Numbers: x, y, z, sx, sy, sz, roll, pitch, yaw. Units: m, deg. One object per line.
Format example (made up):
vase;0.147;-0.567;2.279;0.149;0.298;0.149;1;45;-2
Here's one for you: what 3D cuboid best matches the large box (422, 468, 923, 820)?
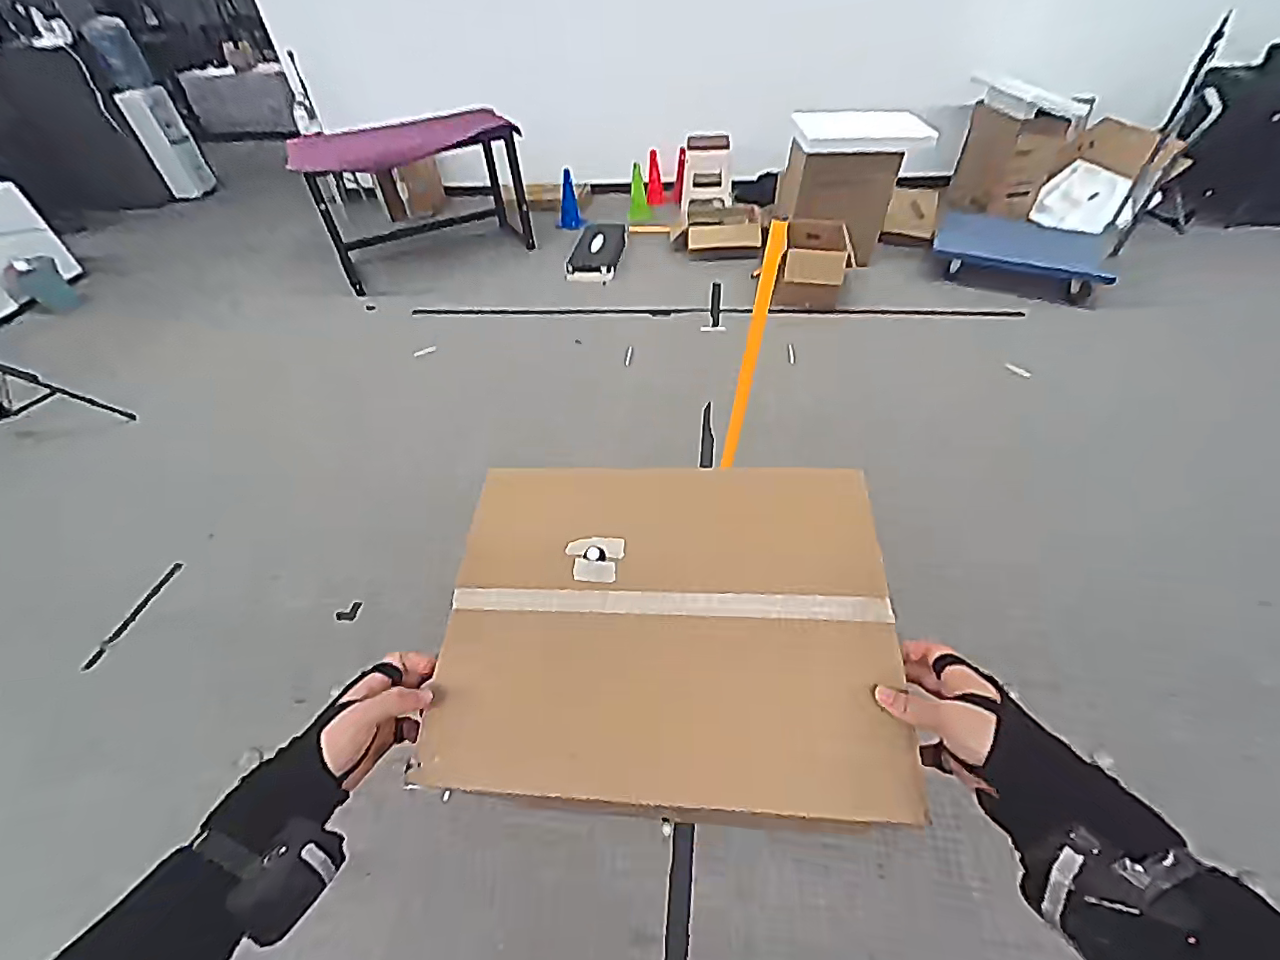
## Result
large box;0.042;0.203;0.626;0.408;0.320;0.320;-1;55;8
